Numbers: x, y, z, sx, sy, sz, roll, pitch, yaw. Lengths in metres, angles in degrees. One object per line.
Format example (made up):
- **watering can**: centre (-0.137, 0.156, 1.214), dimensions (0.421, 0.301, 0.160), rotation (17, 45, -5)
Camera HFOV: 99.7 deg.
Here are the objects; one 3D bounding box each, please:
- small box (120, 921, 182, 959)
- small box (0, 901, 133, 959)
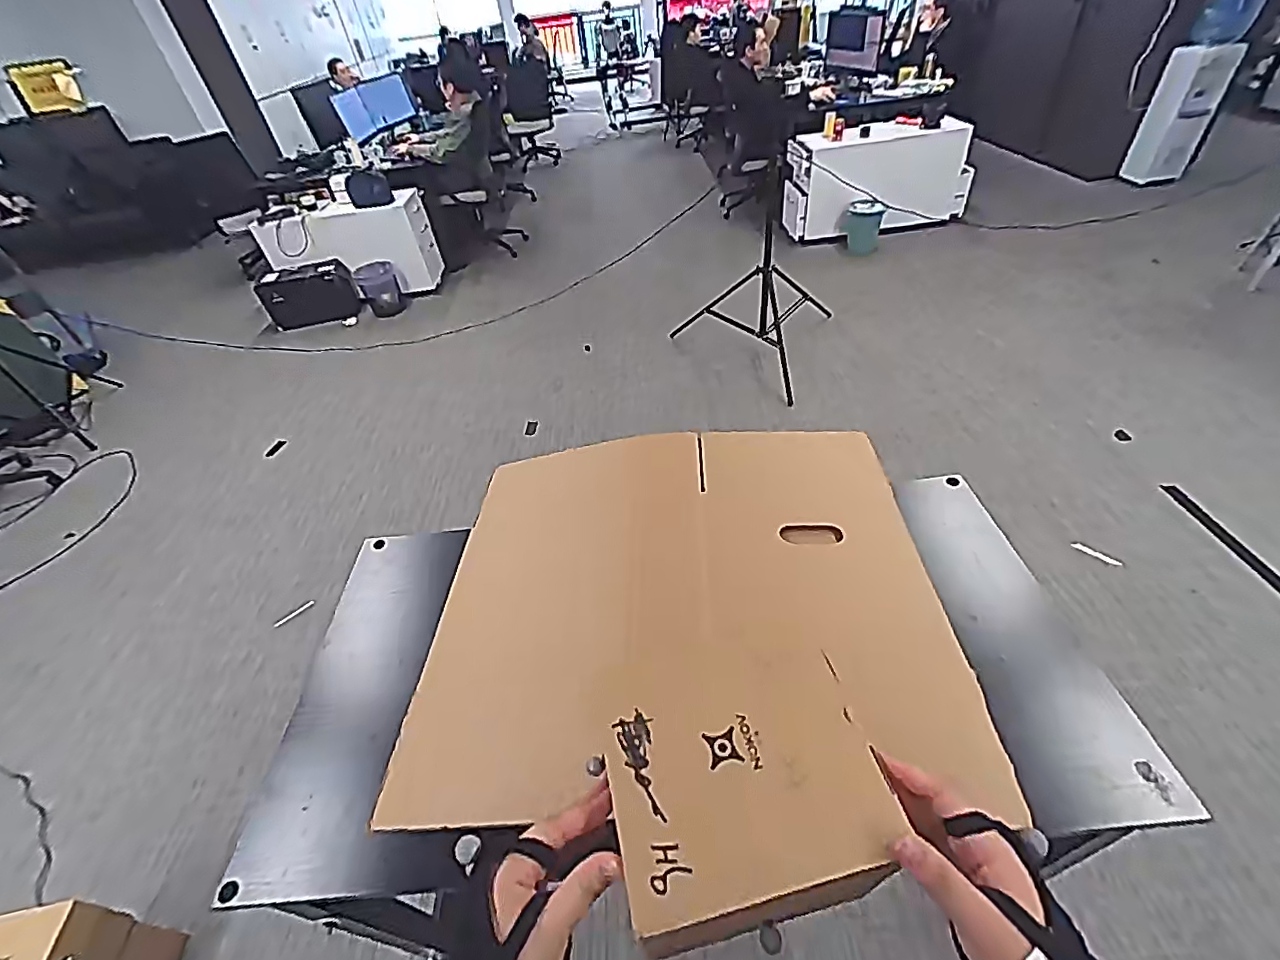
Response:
- **small box**: centre (-1.130, 1.070, 1.143), dimensions (0.168, 0.176, 0.179), rotation (-9, 43, -1)
- **small box**: centre (-1.148, 0.947, 1.038), dimensions (0.168, 0.176, 0.179), rotation (-11, 42, -4)
